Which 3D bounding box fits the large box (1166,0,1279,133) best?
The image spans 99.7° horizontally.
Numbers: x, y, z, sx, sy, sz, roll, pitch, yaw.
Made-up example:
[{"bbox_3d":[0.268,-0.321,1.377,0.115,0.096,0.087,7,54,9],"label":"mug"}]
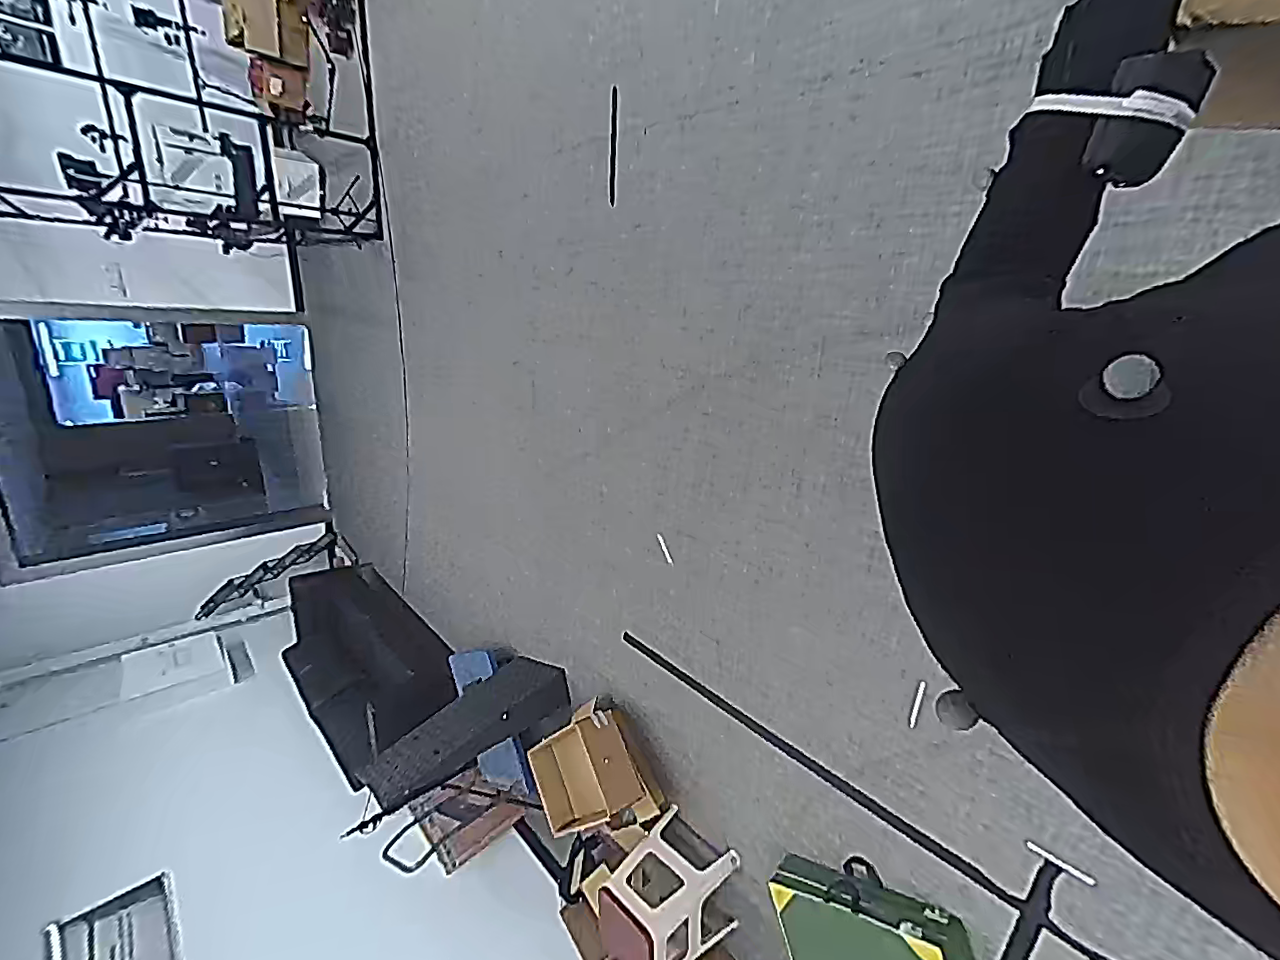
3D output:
[{"bbox_3d":[0.585,-0.380,0.261,0.408,0.320,0.320,26,123,35],"label":"large box"}]
